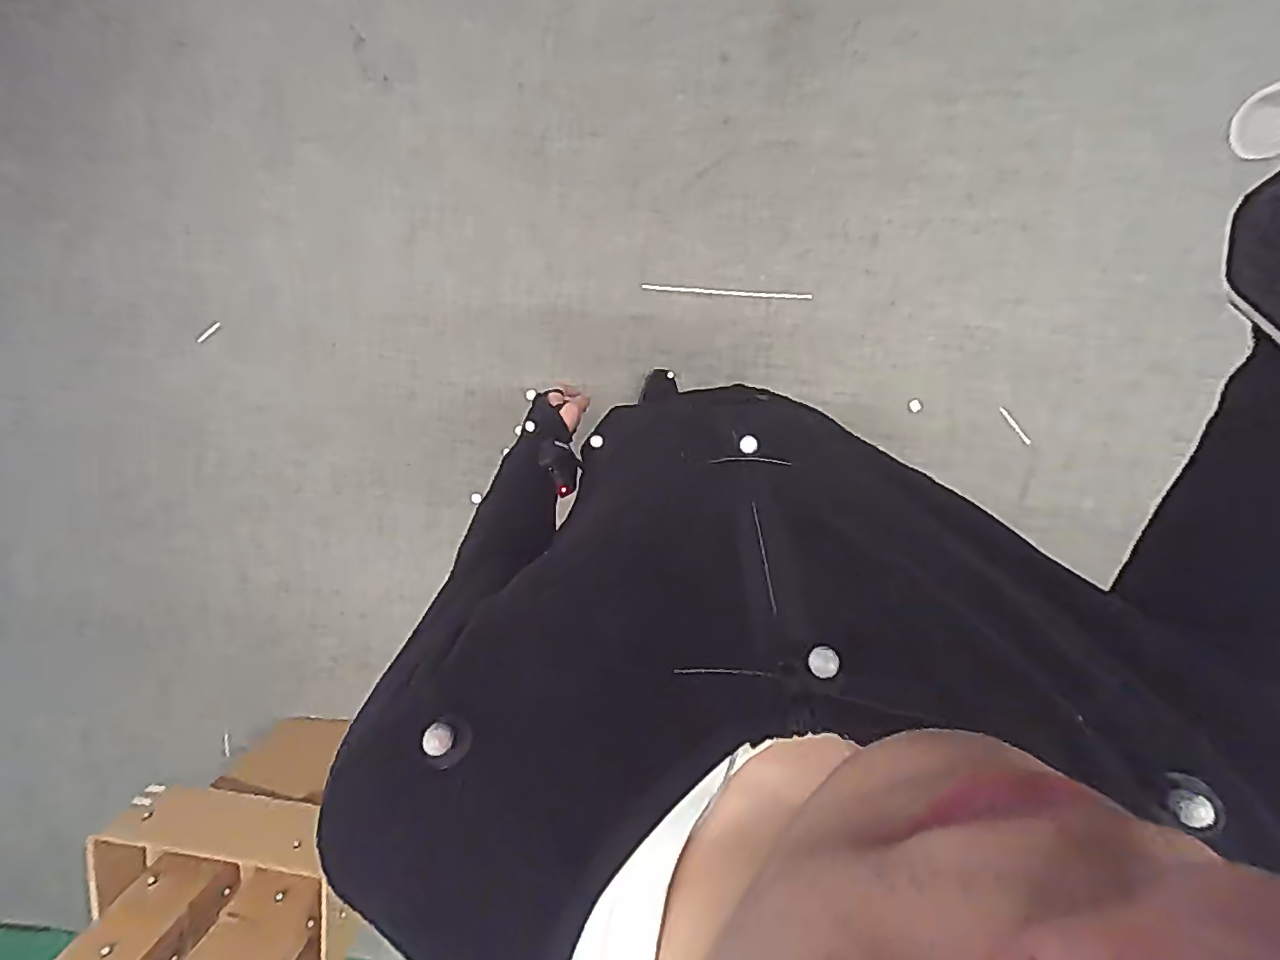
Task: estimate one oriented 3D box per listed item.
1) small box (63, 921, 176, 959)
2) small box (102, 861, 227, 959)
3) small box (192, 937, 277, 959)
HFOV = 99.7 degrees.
[{"bbox_3d":[-1.209,1.148,1.224,0.179,0.176,0.168,6,99,-1],"label":"small box"},{"bbox_3d":[-1.208,1.119,1.383,0.179,0.176,0.168,7,101,0],"label":"small box"},{"bbox_3d":[-0.964,1.191,1.218,0.179,0.176,0.168,18,99,0],"label":"small box"}]
